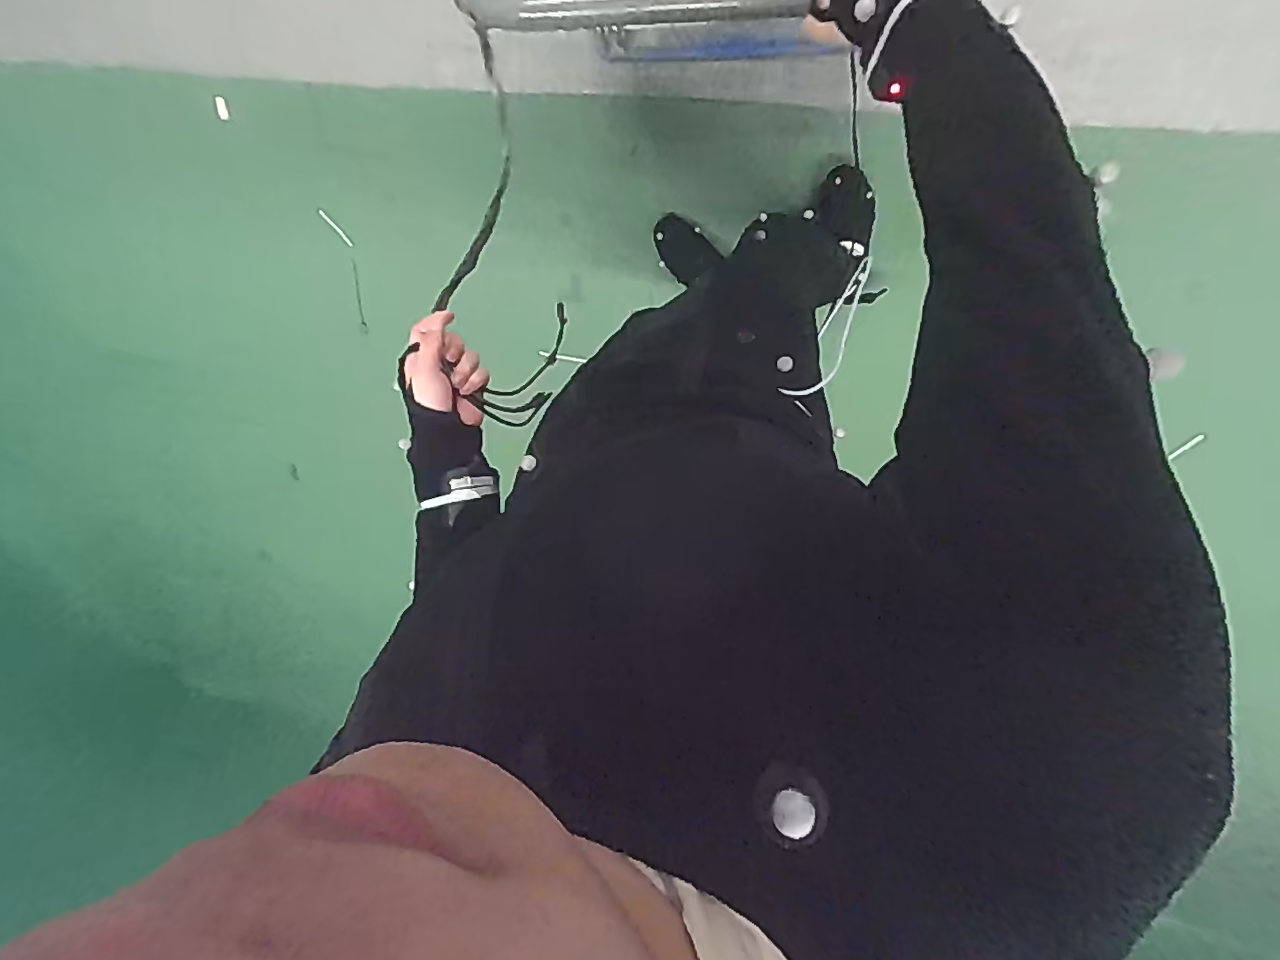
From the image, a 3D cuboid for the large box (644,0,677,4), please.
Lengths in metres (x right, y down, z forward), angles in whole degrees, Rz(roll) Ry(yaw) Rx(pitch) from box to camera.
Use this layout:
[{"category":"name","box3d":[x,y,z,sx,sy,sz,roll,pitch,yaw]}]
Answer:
[{"category":"large box","box3d":[0.116,-0.970,0.760,0.320,0.320,0.408,6,123,10]}]
